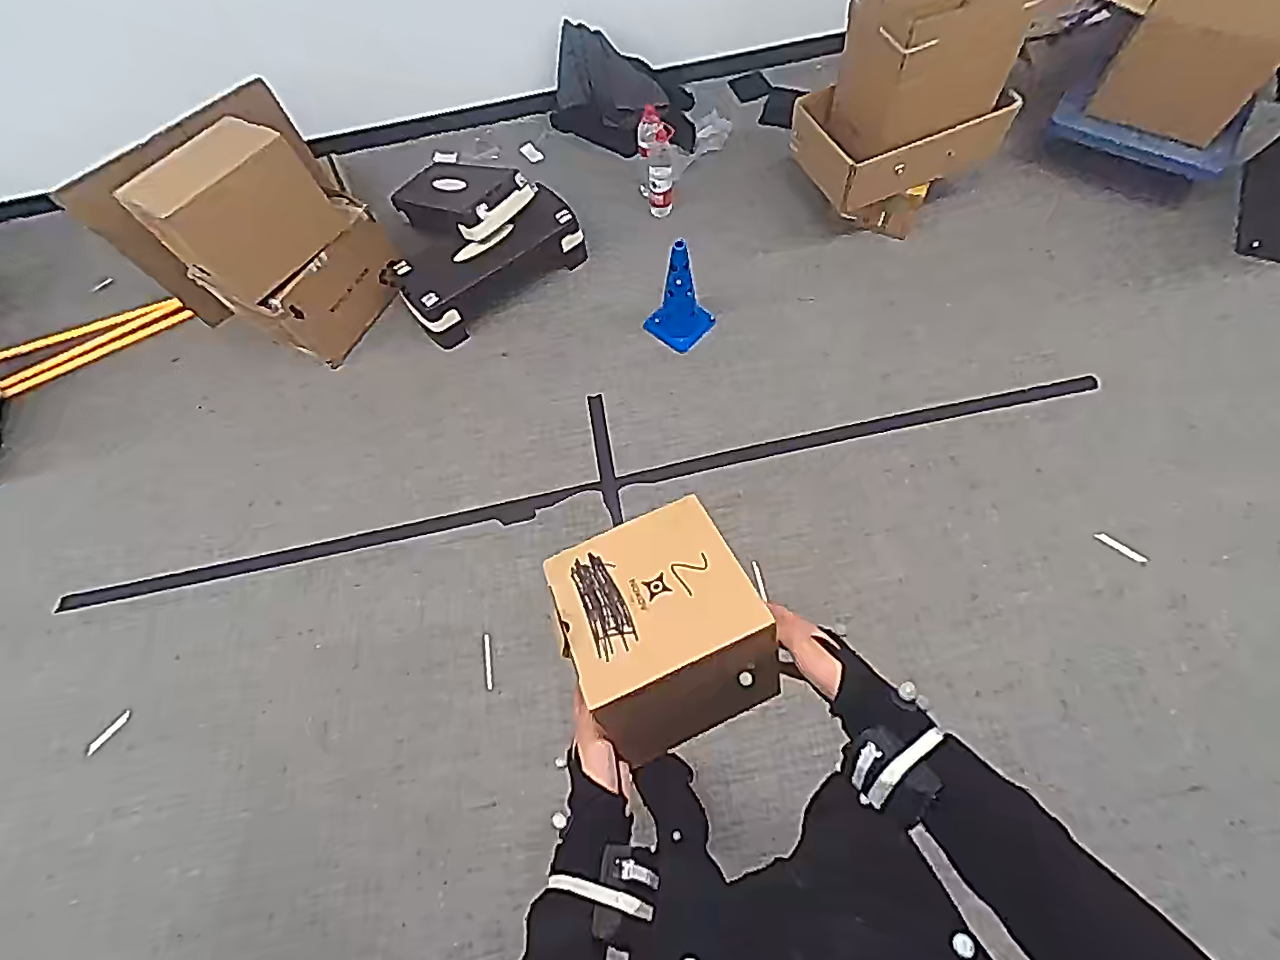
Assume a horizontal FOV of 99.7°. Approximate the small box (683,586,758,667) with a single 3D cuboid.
[{"bbox_3d":[0.209,0.395,1.435,0.168,0.176,0.179,-8,65,1],"label":"small box"}]
